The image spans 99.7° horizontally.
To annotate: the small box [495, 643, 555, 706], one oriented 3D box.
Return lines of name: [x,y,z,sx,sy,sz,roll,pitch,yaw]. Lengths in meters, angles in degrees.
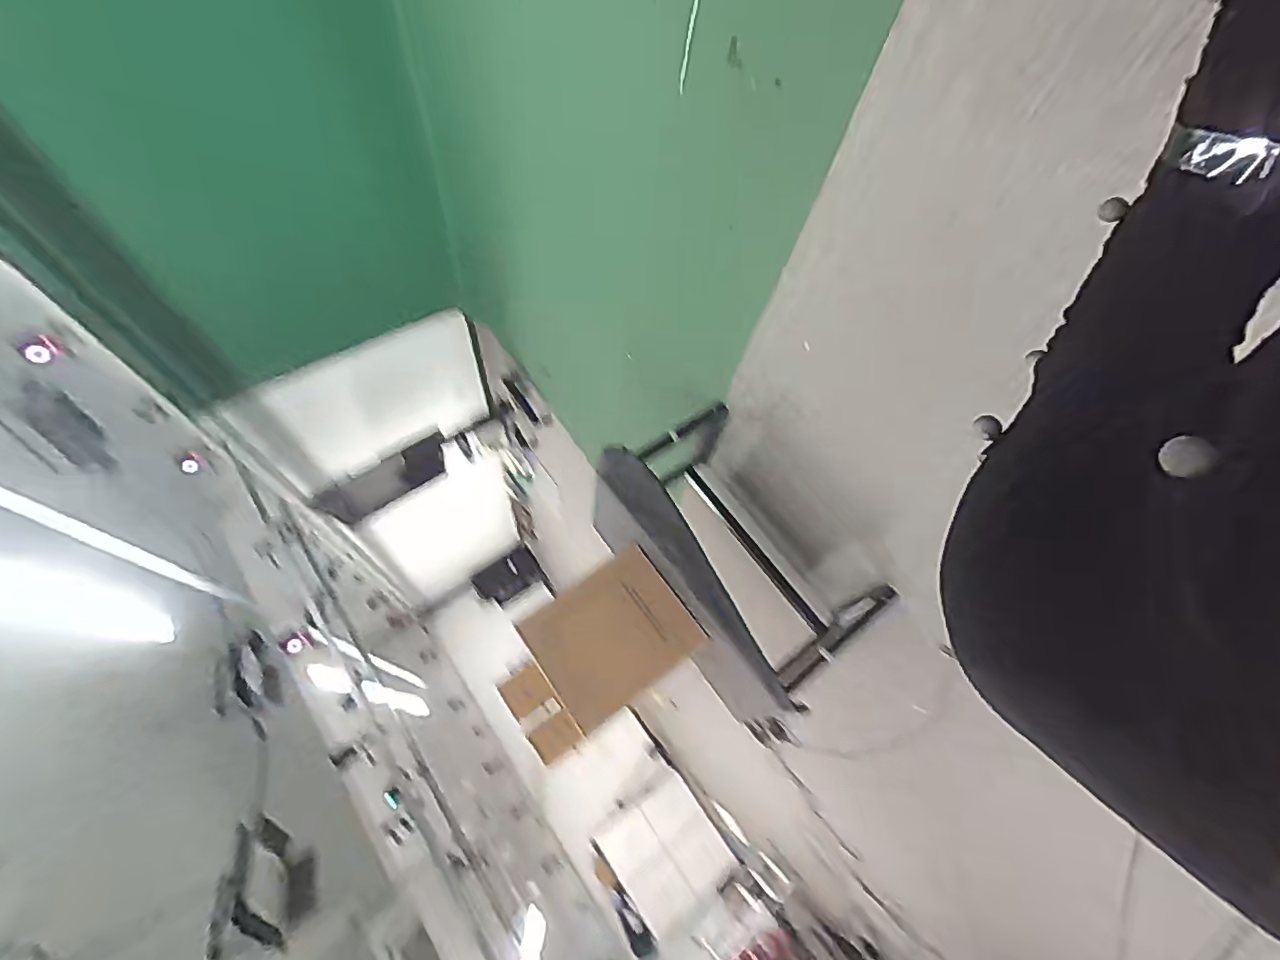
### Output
small box: [-0.461,0.780,2.184,0.179,0.176,0.168,50,157,16]

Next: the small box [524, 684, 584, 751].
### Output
small box: [-0.332,0.932,2.126,0.168,0.176,0.179,46,156,21]
